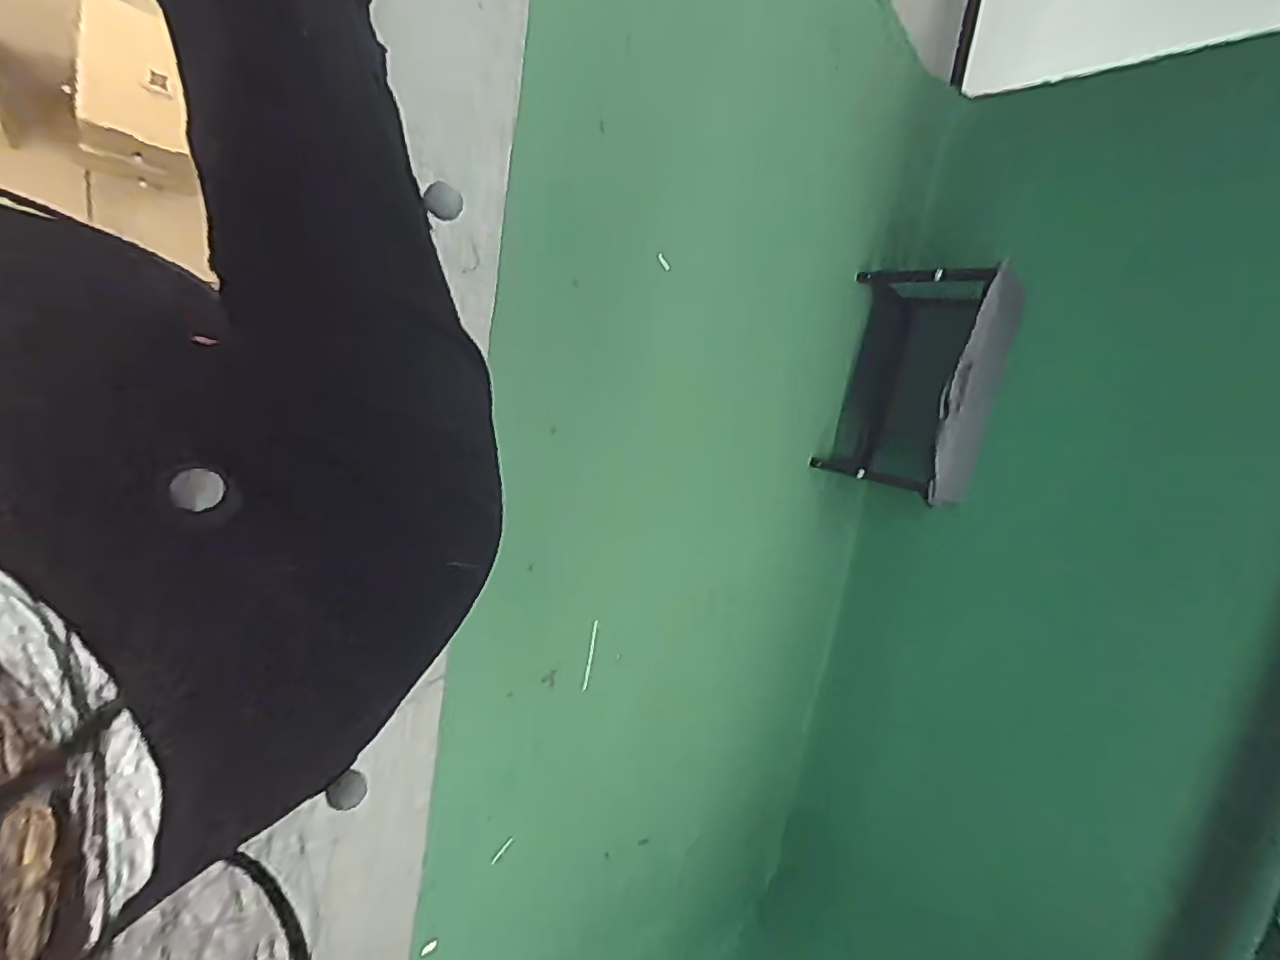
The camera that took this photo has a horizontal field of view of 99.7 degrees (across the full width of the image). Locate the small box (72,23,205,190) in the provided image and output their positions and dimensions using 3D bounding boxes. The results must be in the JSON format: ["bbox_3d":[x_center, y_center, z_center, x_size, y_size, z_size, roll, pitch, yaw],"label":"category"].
[{"bbox_3d":[-0.888,-0.643,0.960,0.168,0.176,0.179,-2,105,-44],"label":"small box"}]

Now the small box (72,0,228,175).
[{"bbox_3d":[-0.771,-0.613,0.850,0.168,0.176,0.179,1,103,-46],"label":"small box"}]

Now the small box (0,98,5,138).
[{"bbox_3d":[-1.061,-0.623,0.780,0.168,0.176,0.179,-9,109,-44],"label":"small box"}]
